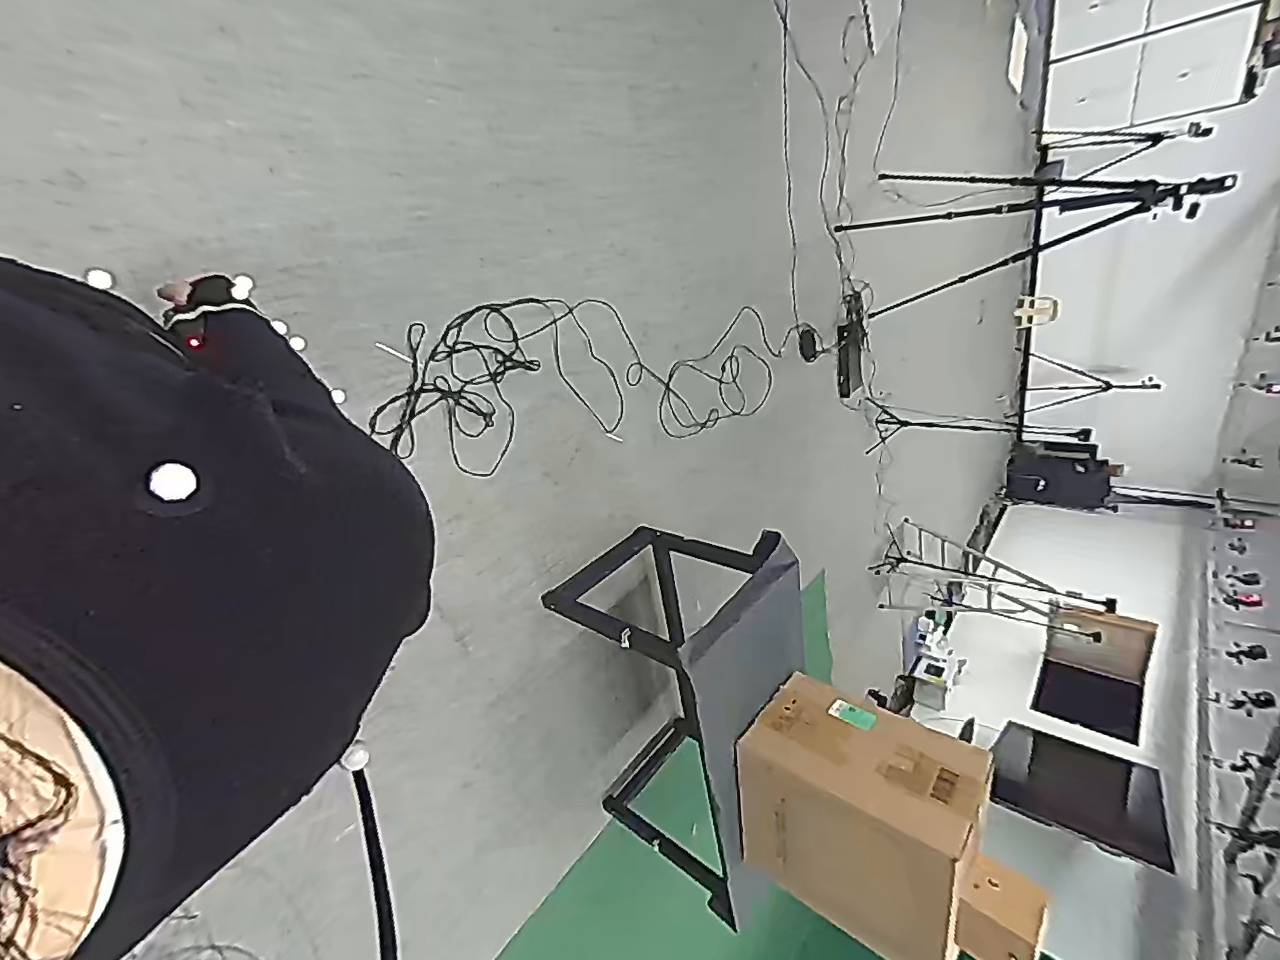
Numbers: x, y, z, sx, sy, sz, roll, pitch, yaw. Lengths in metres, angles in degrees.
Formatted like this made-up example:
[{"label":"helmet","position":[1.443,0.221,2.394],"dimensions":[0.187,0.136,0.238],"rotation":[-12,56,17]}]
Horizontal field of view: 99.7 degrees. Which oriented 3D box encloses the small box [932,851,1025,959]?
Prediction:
[{"label":"small box","position":[0.887,1.140,1.425],"dimensions":[0.168,0.176,0.179],"rotation":[-22,114,-42]}]
